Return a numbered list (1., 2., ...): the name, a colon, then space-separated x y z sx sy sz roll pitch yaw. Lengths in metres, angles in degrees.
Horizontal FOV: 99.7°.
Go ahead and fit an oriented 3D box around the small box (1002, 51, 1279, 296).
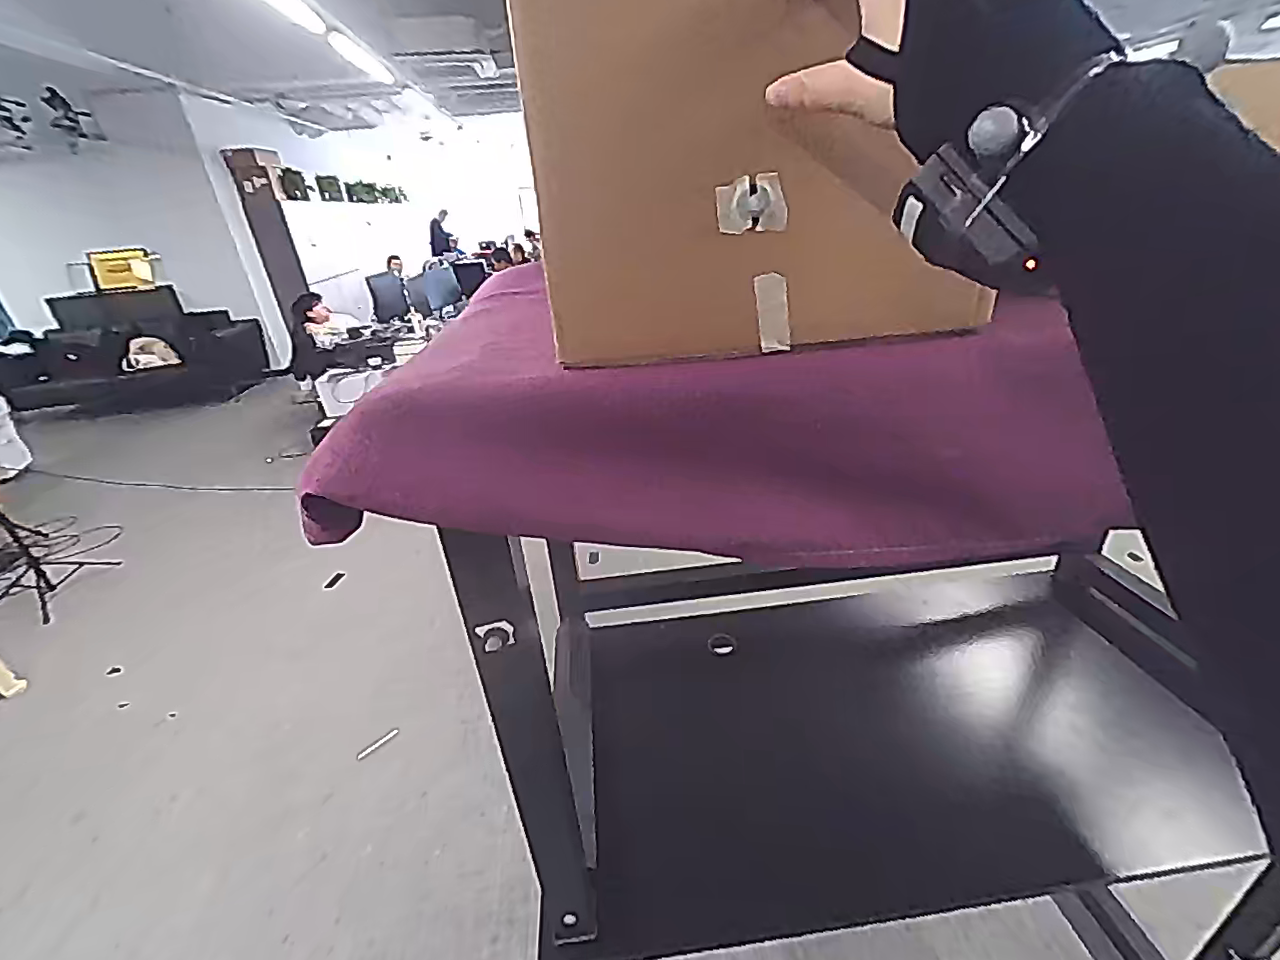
1. small box: 0.429 -0.280 0.515 0.179 0.176 0.168 -10 26 -8
